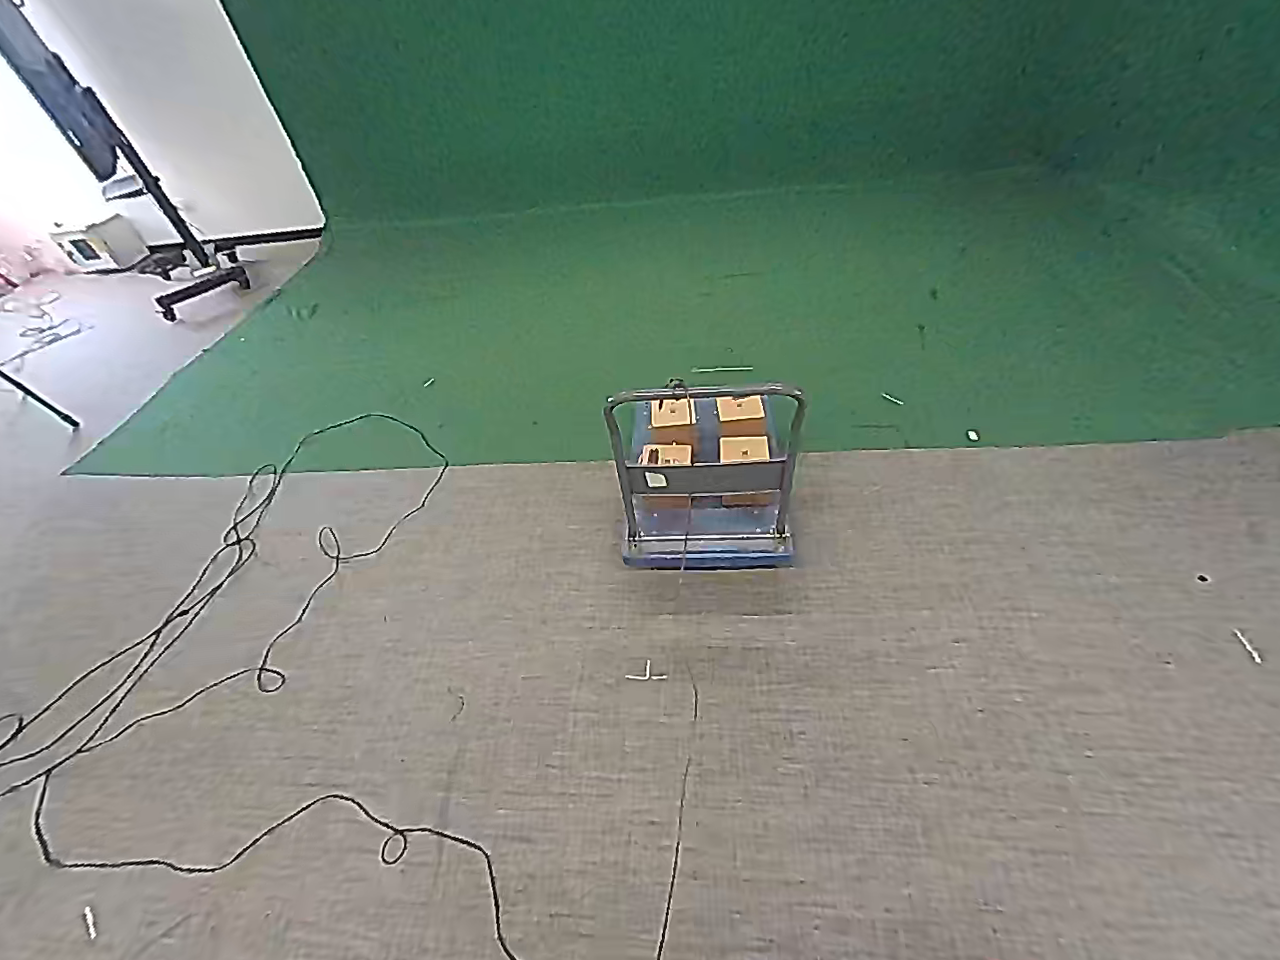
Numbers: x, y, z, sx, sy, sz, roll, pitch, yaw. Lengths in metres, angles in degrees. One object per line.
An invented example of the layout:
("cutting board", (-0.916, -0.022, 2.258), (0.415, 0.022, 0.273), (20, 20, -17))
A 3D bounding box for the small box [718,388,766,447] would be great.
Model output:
("small box", (0.389, -0.232, 2.086), (0.168, 0.176, 0.179), (-5, 47, 5))

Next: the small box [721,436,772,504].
("small box", (0.371, -0.036, 1.901), (0.168, 0.176, 0.179), (-1, 47, 8))

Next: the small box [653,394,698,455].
("small box", (0.139, -0.210, 2.106), (0.168, 0.176, 0.179), (-4, 46, 4))
